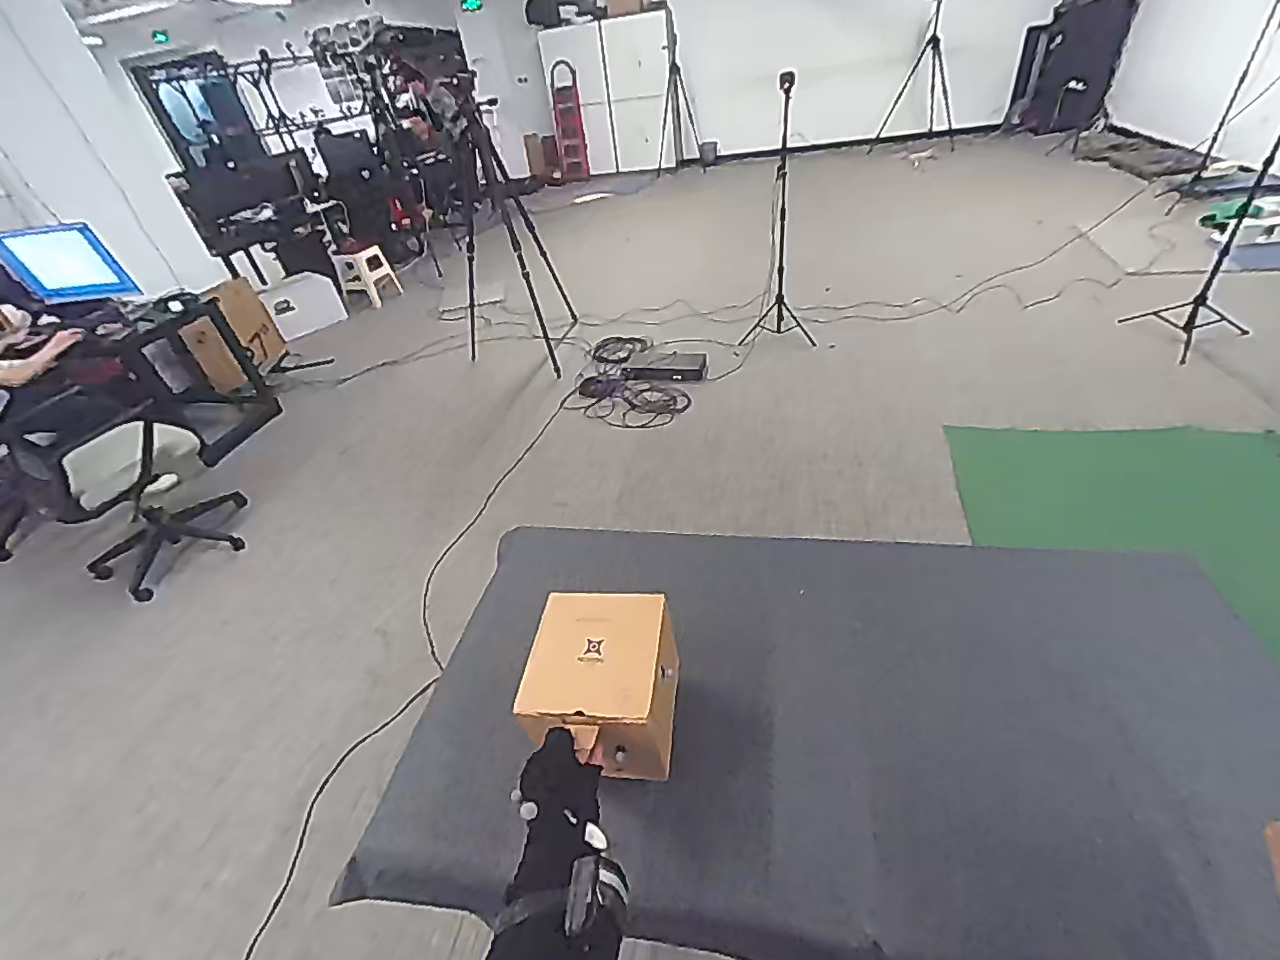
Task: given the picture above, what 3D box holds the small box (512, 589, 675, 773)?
[{"bbox_3d":[-0.047,0.268,0.725,0.168,0.176,0.179,-1,40,11],"label":"small box"}]
